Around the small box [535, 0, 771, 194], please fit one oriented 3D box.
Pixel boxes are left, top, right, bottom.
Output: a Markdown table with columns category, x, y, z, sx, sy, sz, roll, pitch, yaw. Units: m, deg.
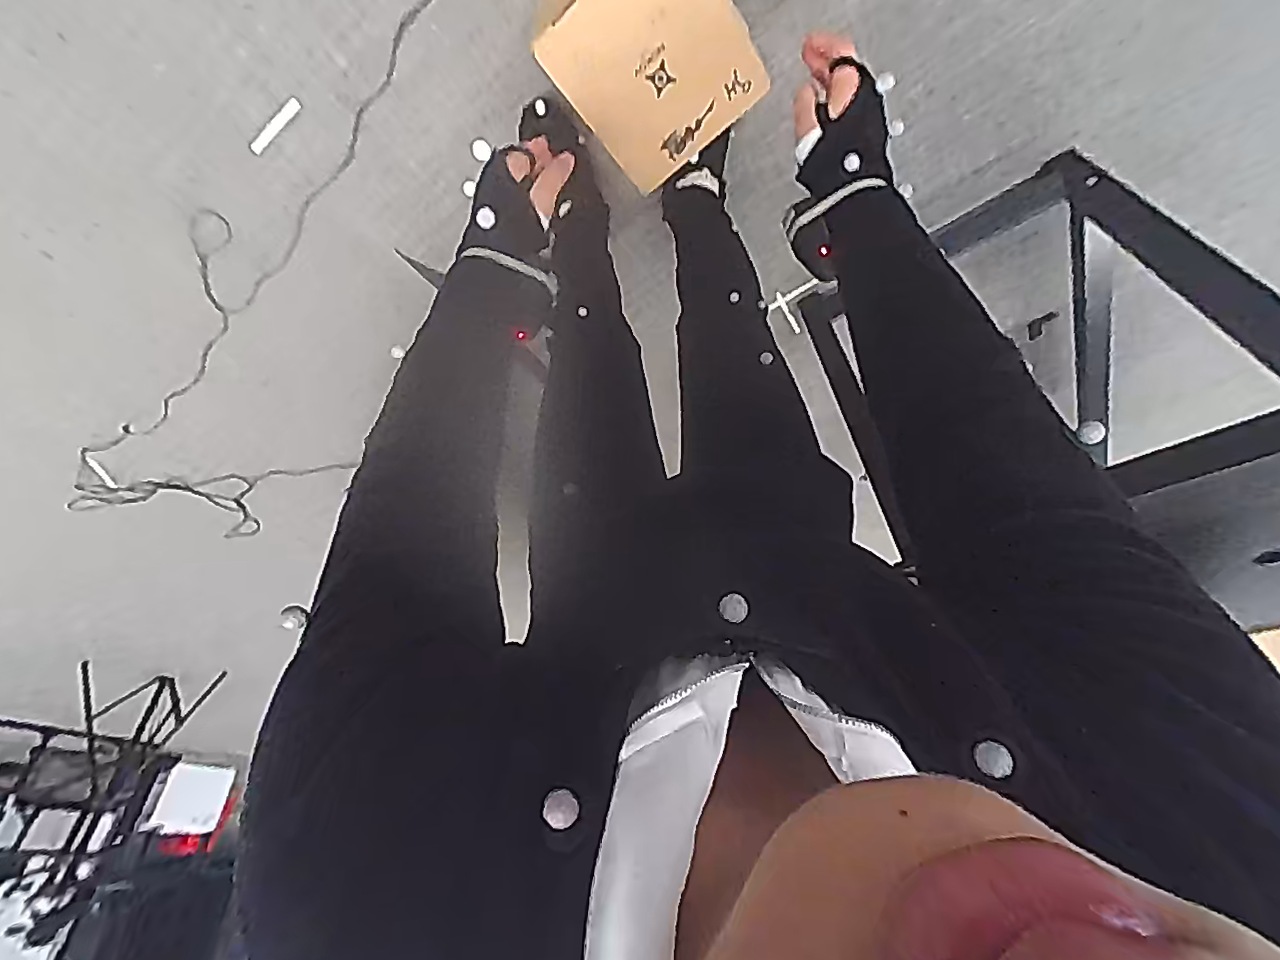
| category | x | y | z | sx | sy | sz | roll | pitch | yaw |
| --- | --- | --- | --- | --- | --- | --- | --- | --- | --- |
| small box | 0.011 | -0.454 | 0.569 | 0.168 | 0.176 | 0.179 | -29 | 135 | 27 |
